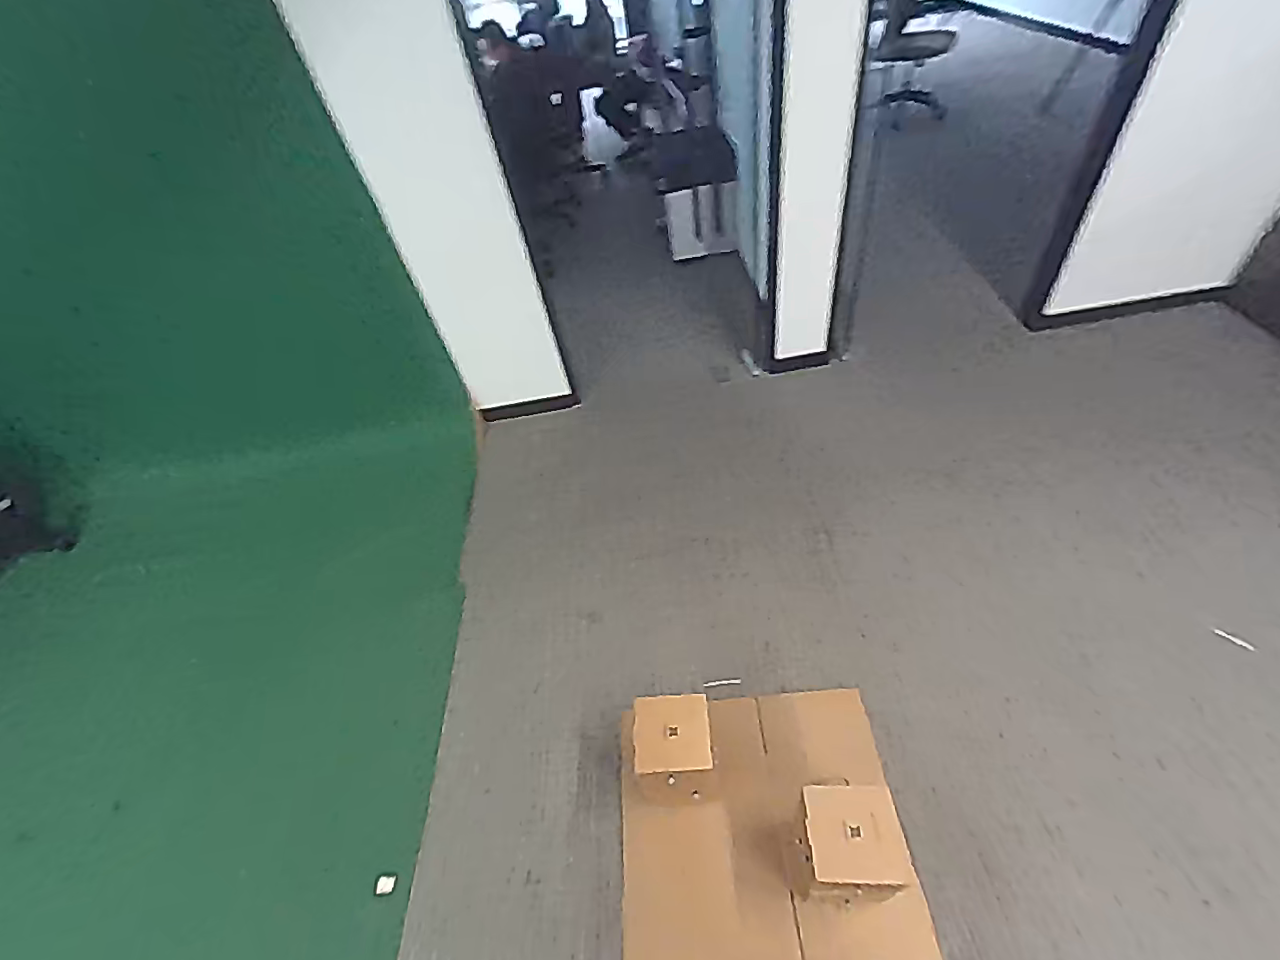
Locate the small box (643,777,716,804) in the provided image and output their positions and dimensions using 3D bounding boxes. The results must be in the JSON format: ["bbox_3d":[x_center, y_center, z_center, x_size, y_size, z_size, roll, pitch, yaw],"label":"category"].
[{"bbox_3d":[0.105,0.737,1.416,0.179,0.176,0.168,-6,47,6],"label":"small box"}]

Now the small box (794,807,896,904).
[{"bbox_3d":[0.458,0.859,1.239,0.179,0.176,0.168,-5,47,7],"label":"small box"}]

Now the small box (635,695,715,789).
[{"bbox_3d":[0.087,0.630,1.297,0.179,0.176,0.168,-6,48,6],"label":"small box"}]

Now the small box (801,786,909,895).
[{"bbox_3d":[0.432,0.748,1.121,0.179,0.176,0.168,-3,49,9],"label":"small box"}]
